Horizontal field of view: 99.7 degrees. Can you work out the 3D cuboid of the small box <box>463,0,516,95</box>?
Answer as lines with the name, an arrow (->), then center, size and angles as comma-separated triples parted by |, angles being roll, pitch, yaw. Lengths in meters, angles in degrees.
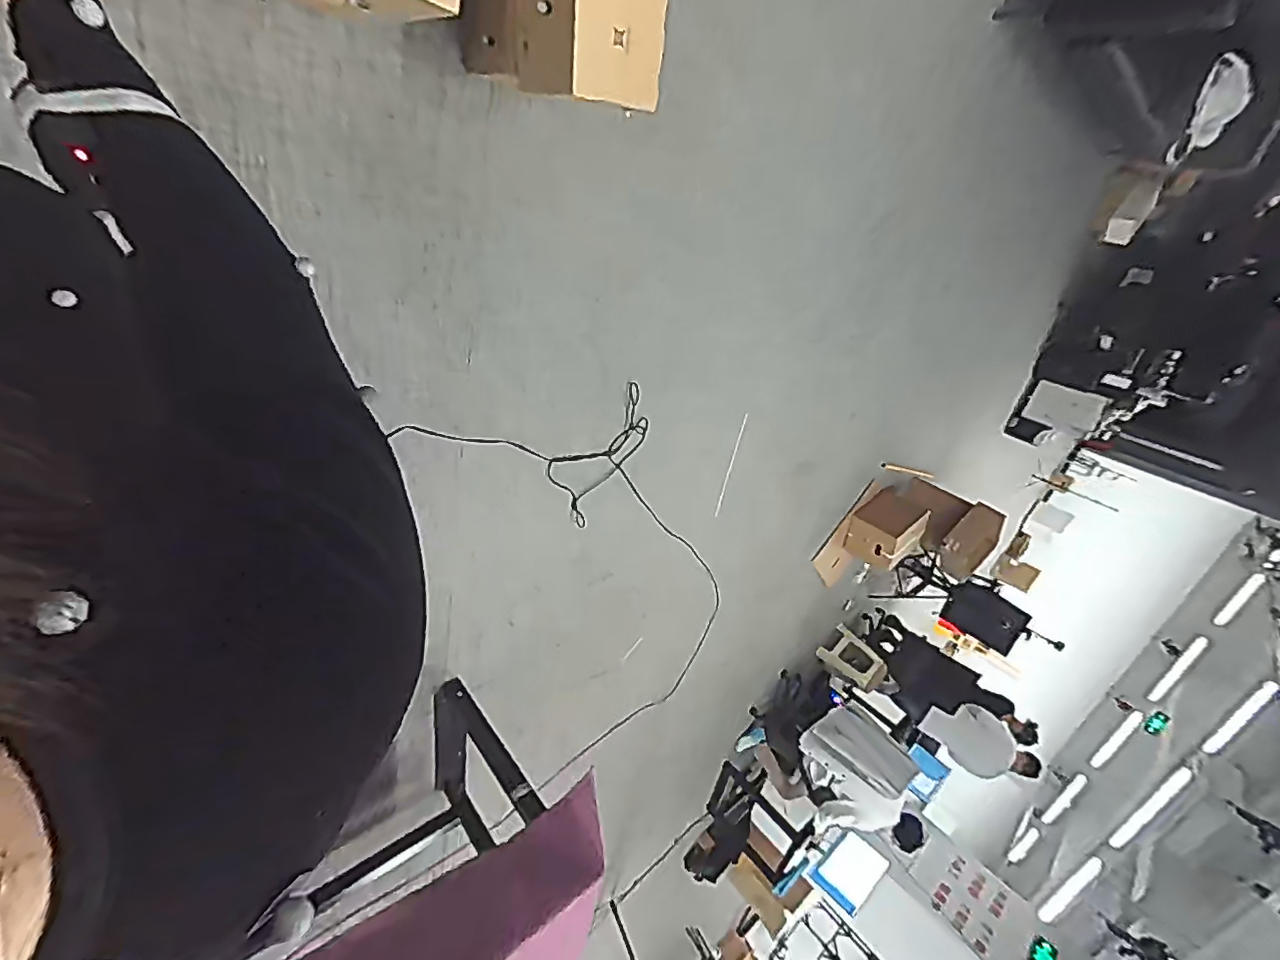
small box -> -0.197, -0.784, 0.957 | 0.179, 0.176, 0.168 | -15, 128, -40

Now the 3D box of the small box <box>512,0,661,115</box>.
small box -> -0.092, -0.697, 0.867 | 0.179, 0.176, 0.168 | -20, 131, -37
